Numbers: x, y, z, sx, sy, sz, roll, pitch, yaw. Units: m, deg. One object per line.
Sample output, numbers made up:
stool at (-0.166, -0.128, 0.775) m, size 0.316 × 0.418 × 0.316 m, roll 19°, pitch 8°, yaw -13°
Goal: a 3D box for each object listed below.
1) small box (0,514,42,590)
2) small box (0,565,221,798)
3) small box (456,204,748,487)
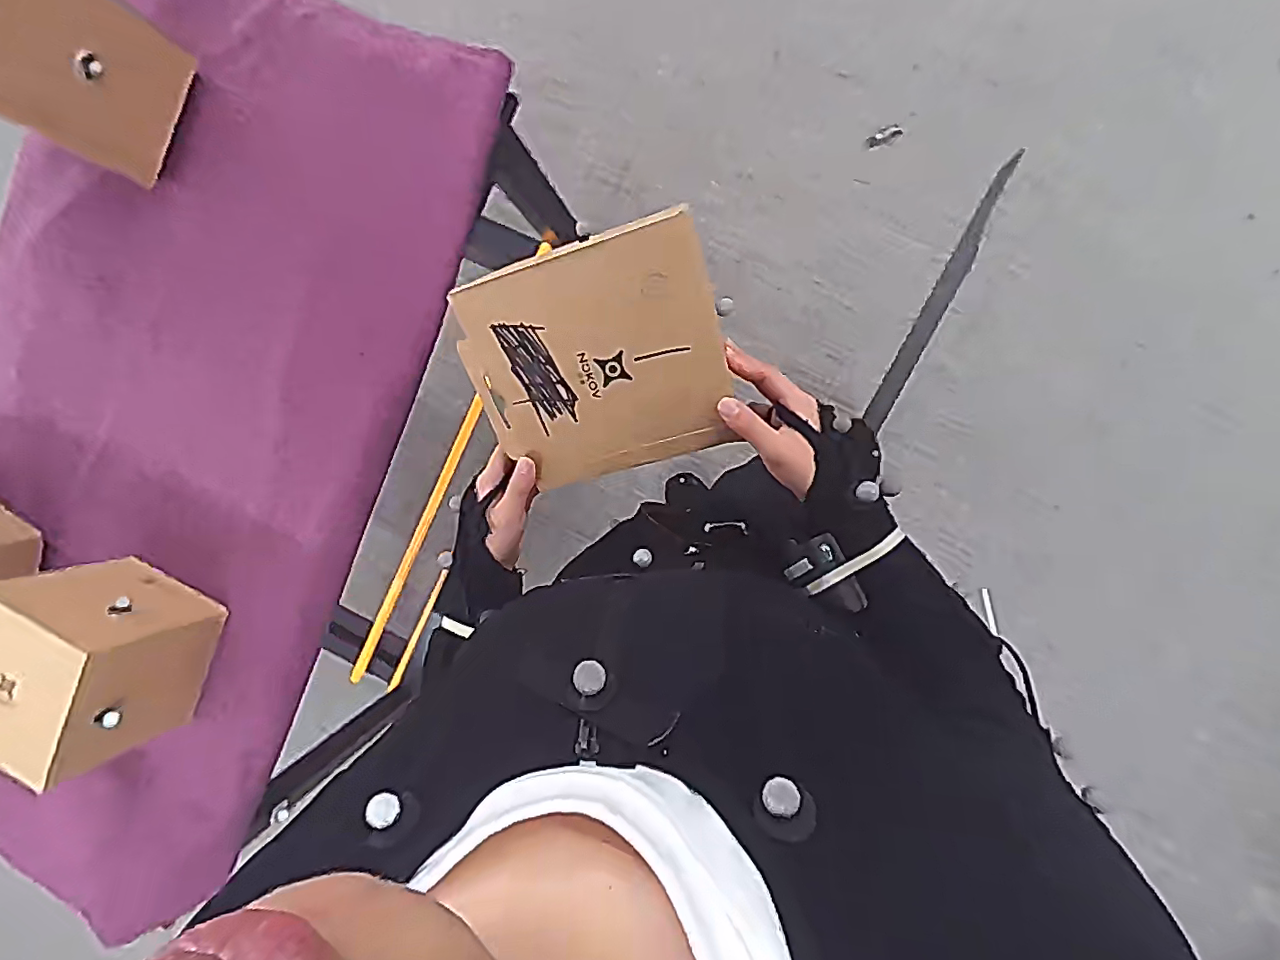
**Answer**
small box at (-0.915, 0.124, 0.665) m, size 0.176 × 0.168 × 0.179 m, roll 29°, pitch 104°, yaw 7°
small box at (-0.658, 0.221, 0.648) m, size 0.168 × 0.176 × 0.179 m, roll 25°, pitch 97°, yaw 6°
small box at (-0.016, -0.119, 0.457) m, size 0.179 × 0.176 × 0.168 m, roll -14°, pitch 116°, yaw 12°
